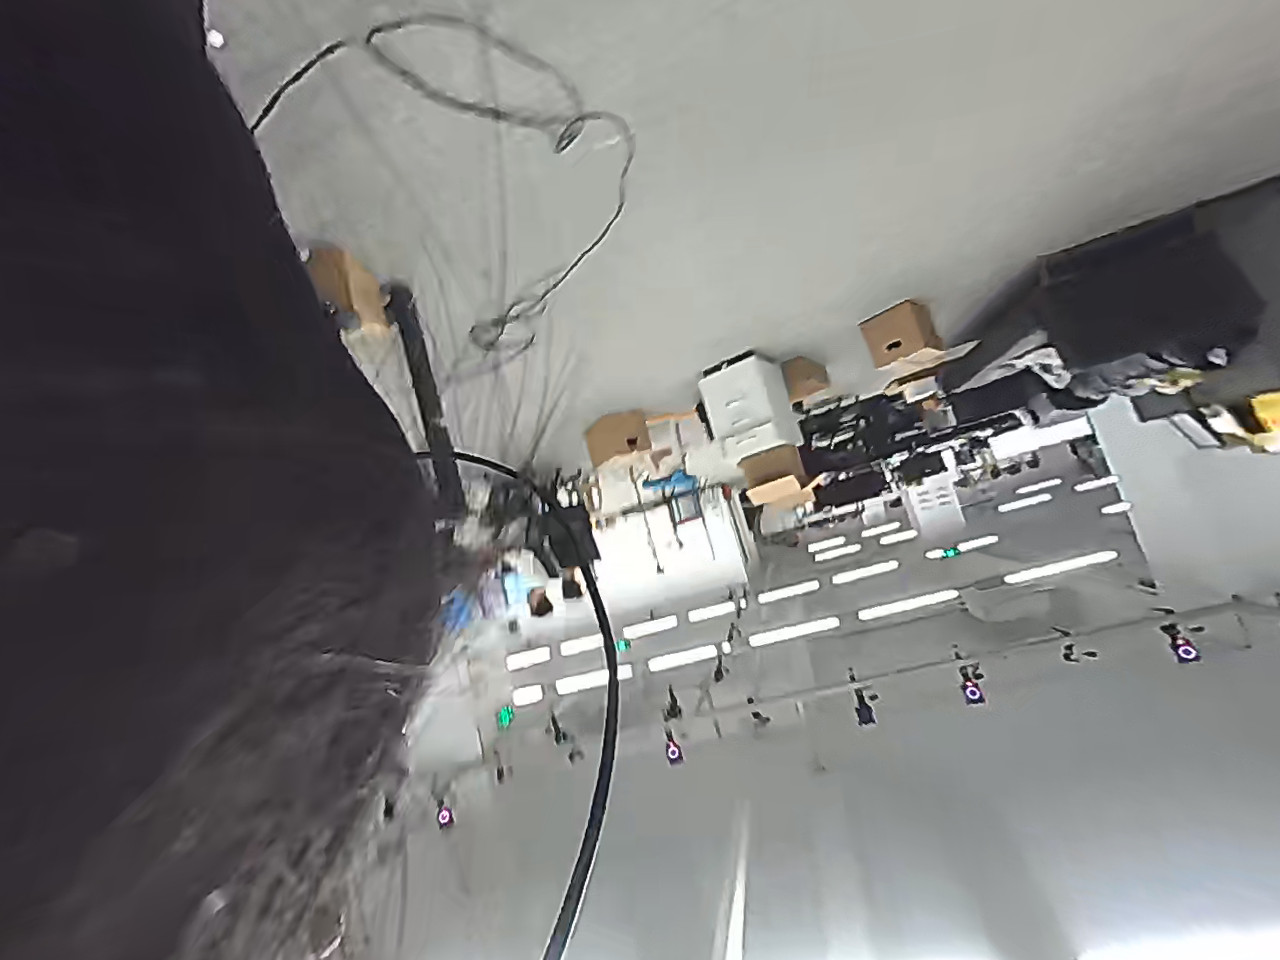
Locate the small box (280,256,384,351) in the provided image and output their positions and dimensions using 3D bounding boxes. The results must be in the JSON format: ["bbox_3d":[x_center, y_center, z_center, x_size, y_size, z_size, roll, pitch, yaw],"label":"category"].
[{"bbox_3d":[-0.832,-0.477,1.469,0.168,0.176,0.179,-18,174,0],"label":"small box"}]
